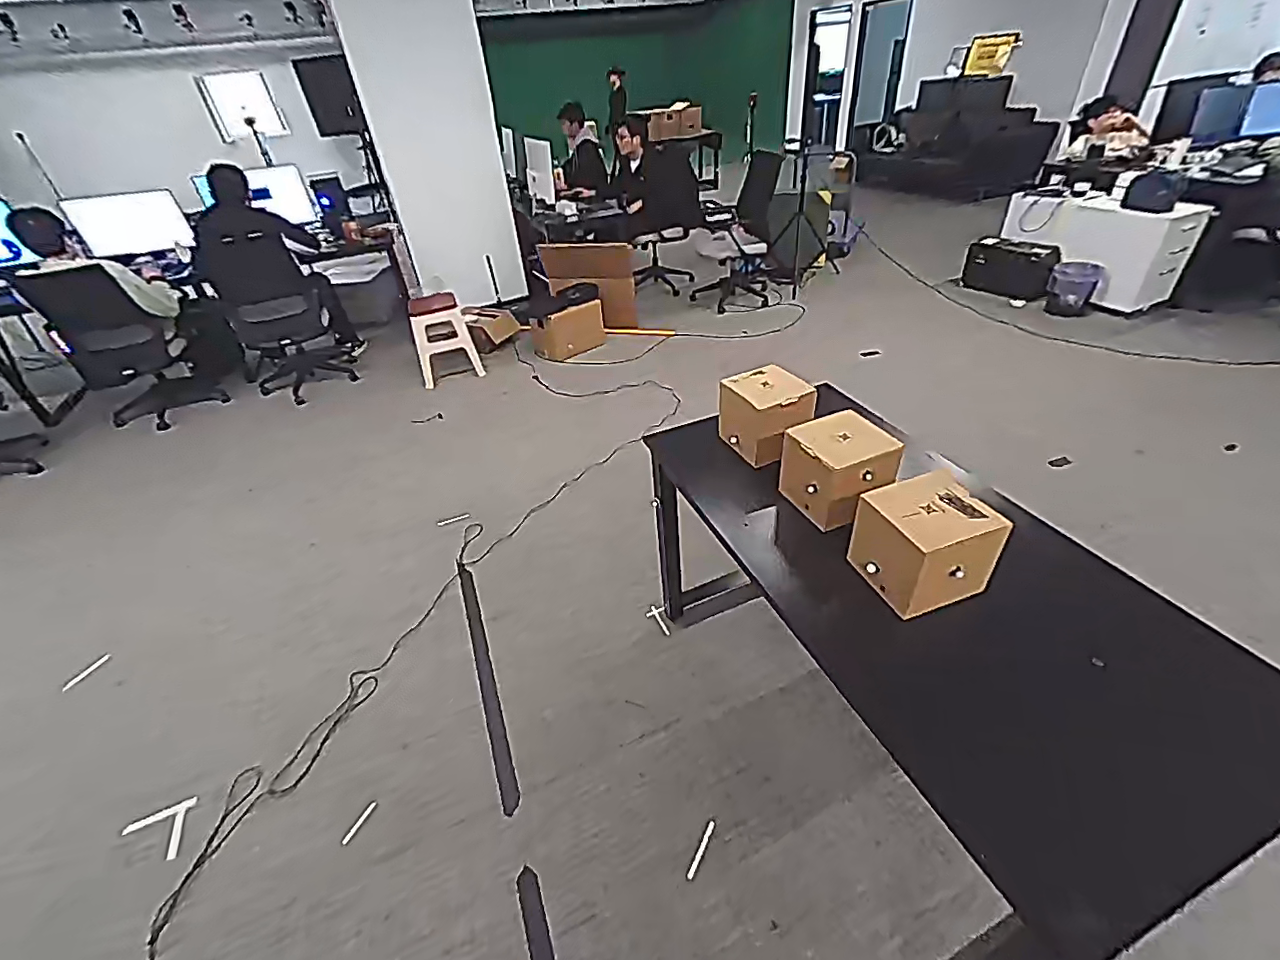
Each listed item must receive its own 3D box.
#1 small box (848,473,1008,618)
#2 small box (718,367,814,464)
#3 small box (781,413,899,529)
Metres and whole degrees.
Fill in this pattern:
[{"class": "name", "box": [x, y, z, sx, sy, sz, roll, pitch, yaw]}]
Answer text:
[{"class": "small box", "box": [0.505, 0.117, 0.978, 0.179, 0.176, 0.168, -15, 38, -12]}, {"class": "small box", "box": [0.309, -0.157, 1.362, 0.168, 0.176, 0.179, -19, 40, -18]}, {"class": "small box", "box": [0.420, -0.018, 1.170, 0.179, 0.176, 0.168, -17, 40, -17]}]
